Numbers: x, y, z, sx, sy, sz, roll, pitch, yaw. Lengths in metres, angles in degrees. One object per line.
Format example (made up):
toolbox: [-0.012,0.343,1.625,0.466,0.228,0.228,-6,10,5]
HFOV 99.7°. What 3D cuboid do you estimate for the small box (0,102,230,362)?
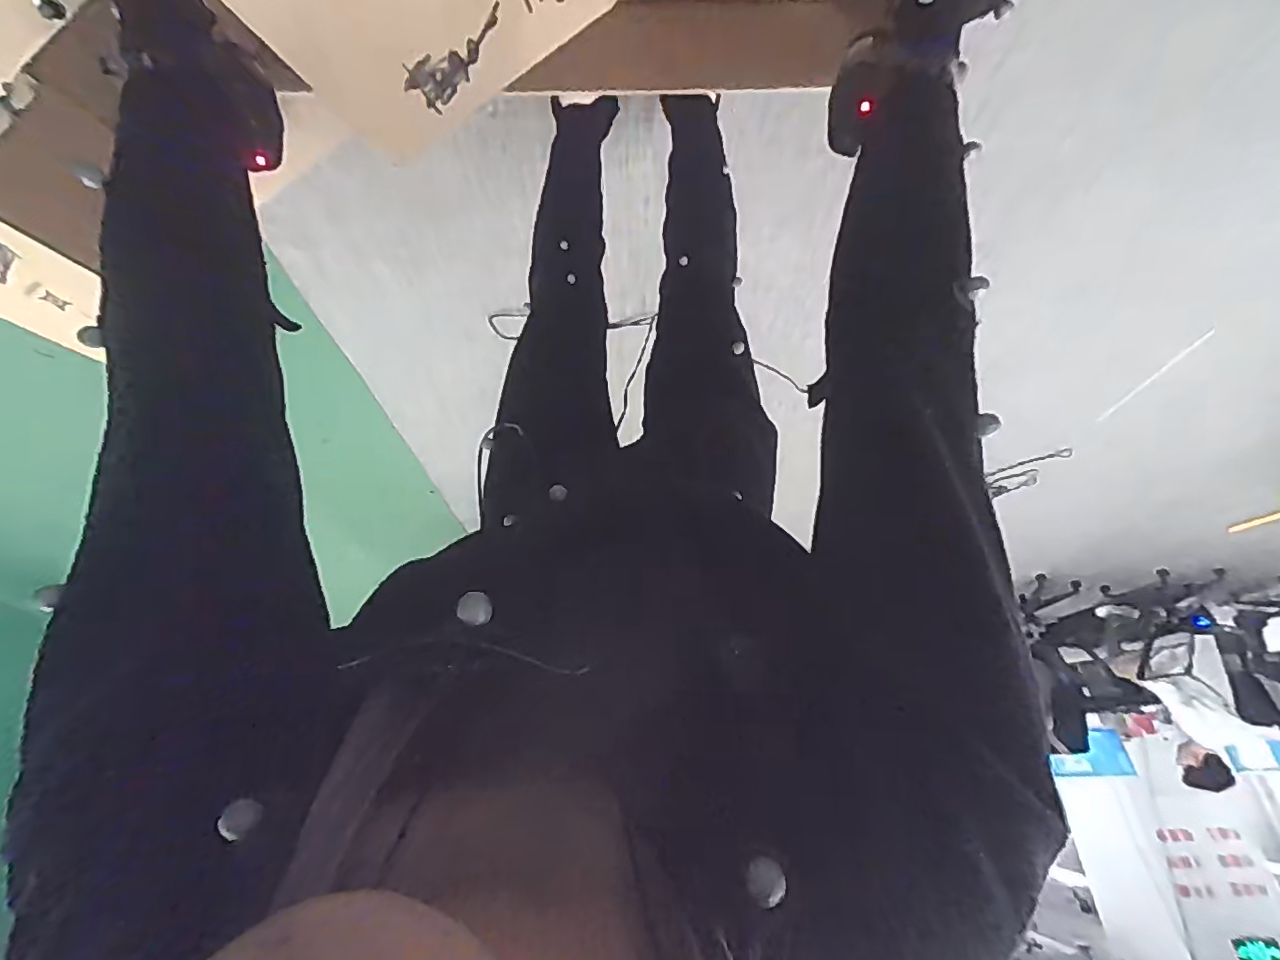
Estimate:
small box: [-0.607,-0.266,0.591,0.168,0.176,0.179,-13,151,24]

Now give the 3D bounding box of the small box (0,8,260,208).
small box: [-0.615,-0.417,0.658,0.168,0.176,0.179,-16,149,28]

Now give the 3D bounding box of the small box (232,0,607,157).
small box: [-0.122,-0.319,0.265,0.168,0.176,0.179,-15,148,27]
